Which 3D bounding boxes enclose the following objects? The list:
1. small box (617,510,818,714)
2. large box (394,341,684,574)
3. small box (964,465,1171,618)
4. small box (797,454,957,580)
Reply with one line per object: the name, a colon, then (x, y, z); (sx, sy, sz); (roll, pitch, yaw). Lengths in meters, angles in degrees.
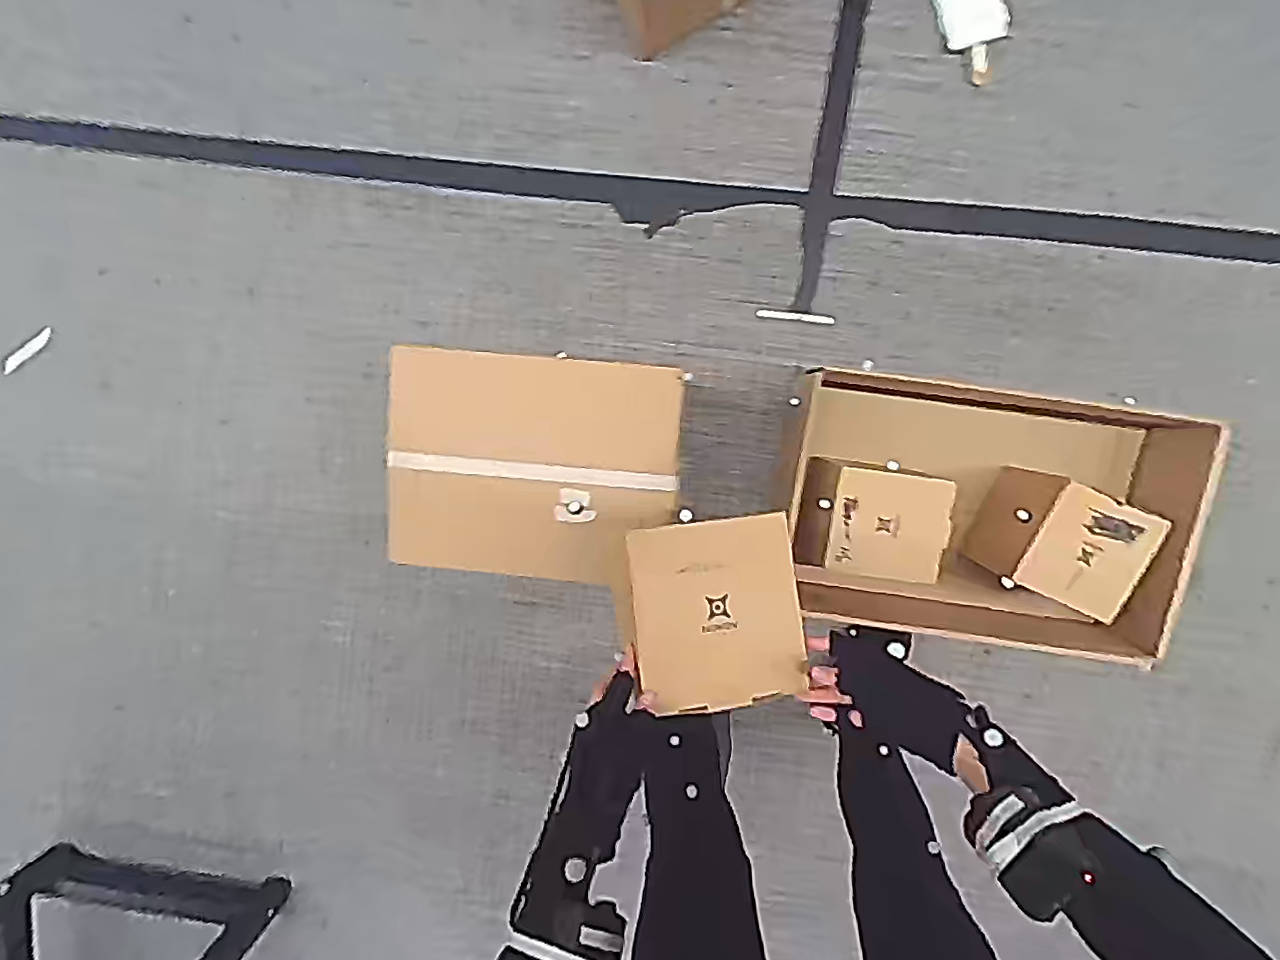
small box: (0.070, 0.129, 0.590); (0.168, 0.176, 0.179); (-6, 84, -10)
large box: (-0.141, -0.047, 0.896); (0.408, 0.320, 0.320); (4, 100, 3)
small box: (0.674, 0.088, 0.881); (0.168, 0.176, 0.179); (24, 100, 1)
small box: (0.377, 0.051, 0.893); (0.179, 0.176, 0.168); (8, 97, 1)
